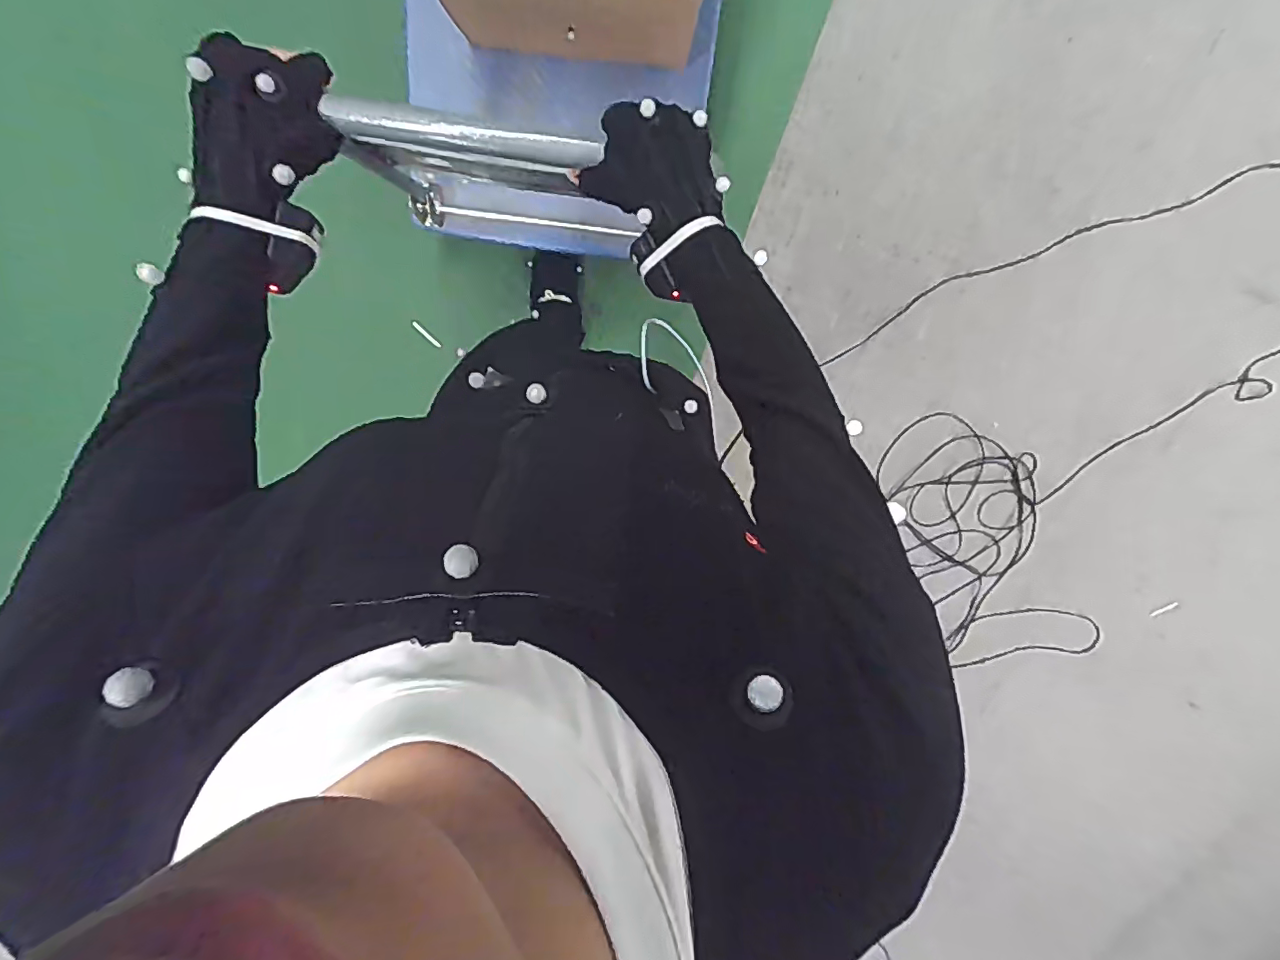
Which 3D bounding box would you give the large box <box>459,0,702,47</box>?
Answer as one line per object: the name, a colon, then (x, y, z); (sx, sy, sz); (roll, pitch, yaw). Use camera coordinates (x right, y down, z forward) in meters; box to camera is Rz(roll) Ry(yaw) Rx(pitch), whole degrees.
large box: (-0.093, -0.909, 0.822); (0.408, 0.320, 0.320); (4, 111, -2)
